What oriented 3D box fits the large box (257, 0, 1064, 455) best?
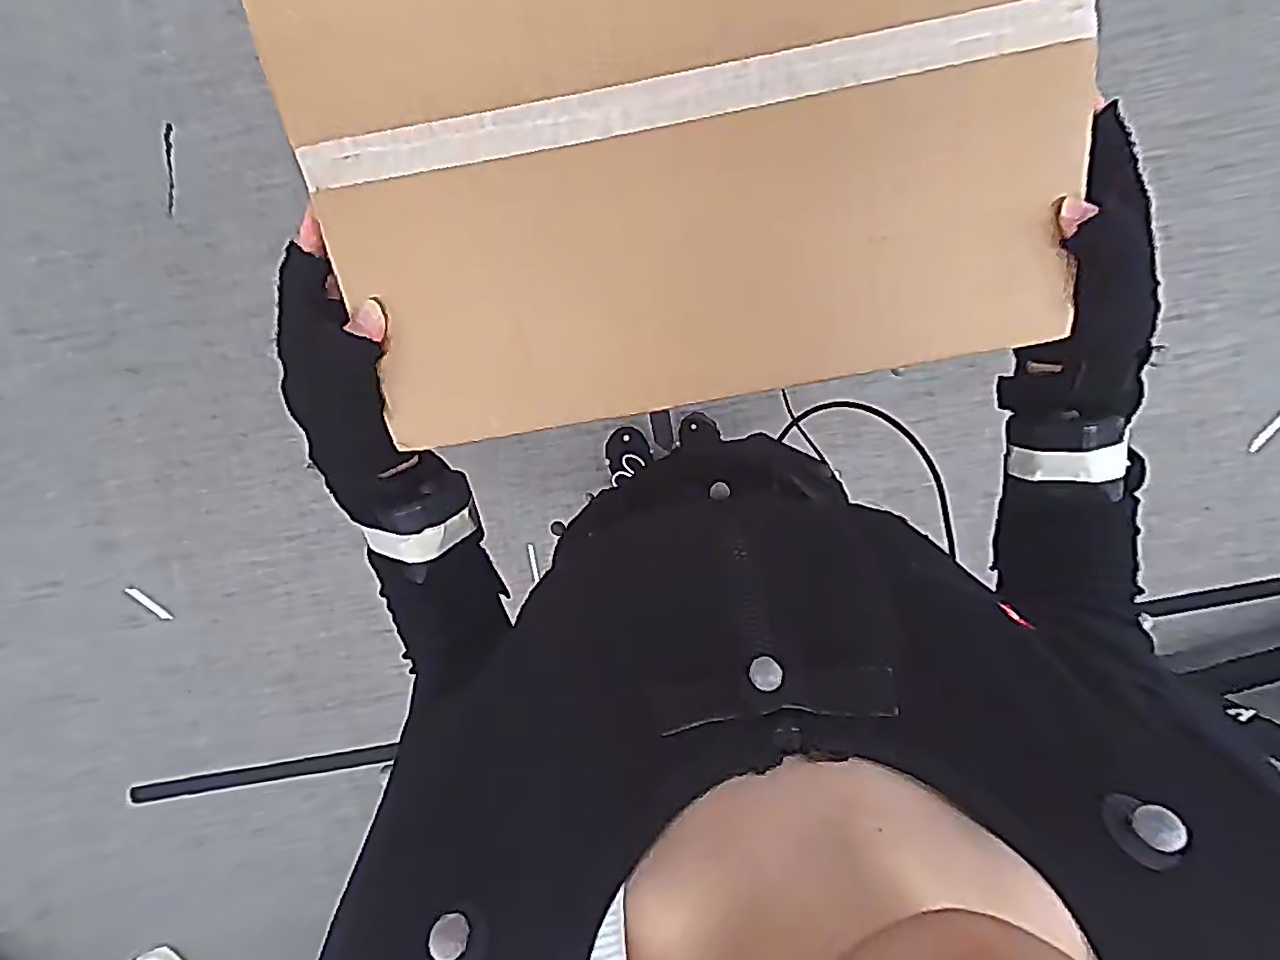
[{"bbox_3d":[0.019,-0.242,0.426,0.408,0.320,0.320,-10,108,2],"label":"large box"}]
